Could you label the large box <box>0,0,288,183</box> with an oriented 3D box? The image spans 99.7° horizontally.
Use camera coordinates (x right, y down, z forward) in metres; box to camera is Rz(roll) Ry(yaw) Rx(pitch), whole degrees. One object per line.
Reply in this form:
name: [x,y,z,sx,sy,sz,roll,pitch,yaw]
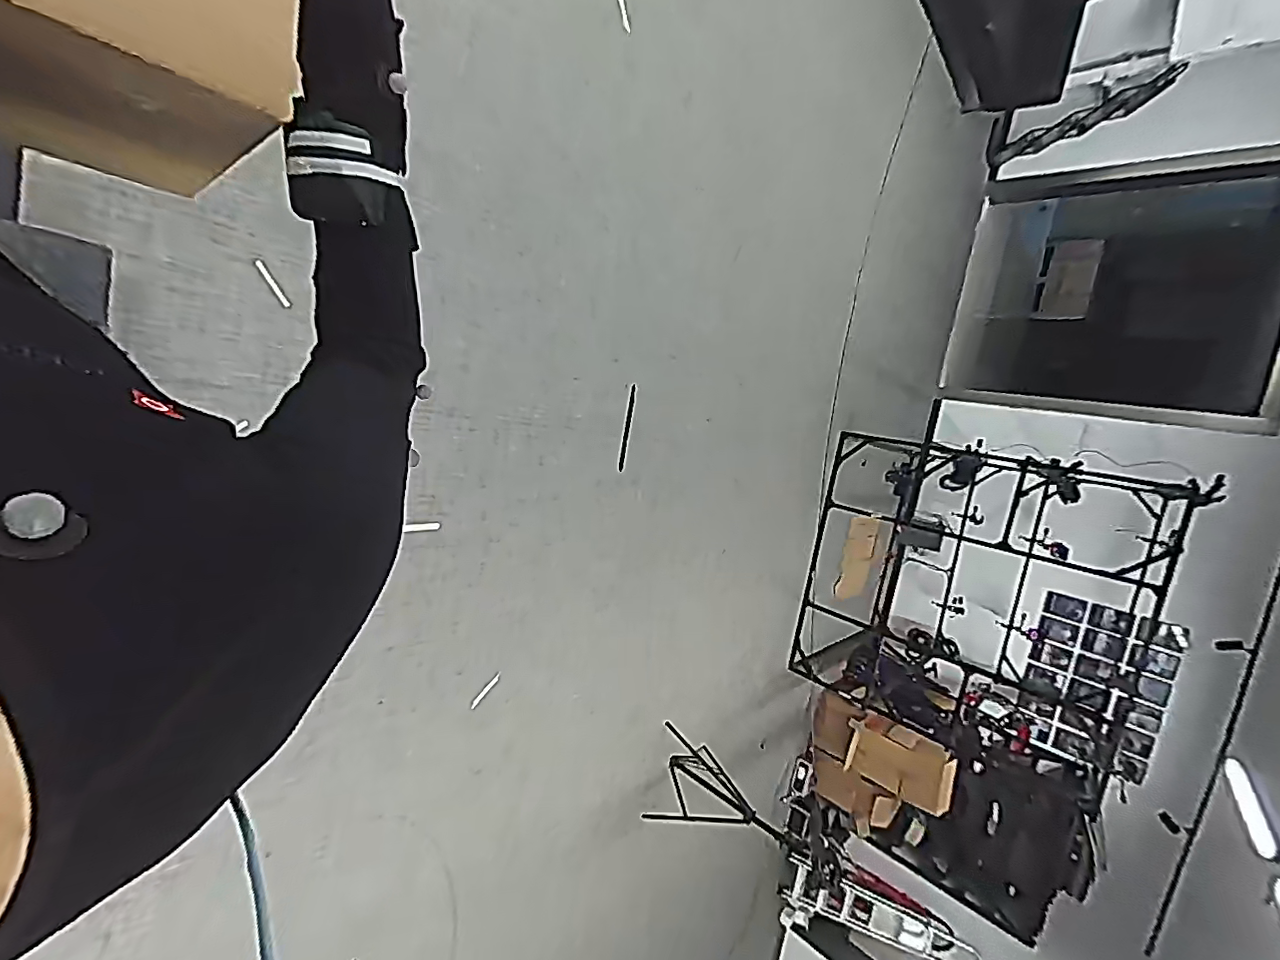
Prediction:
large box: [-0.467,-0.424,0.295,0.408,0.320,0.320,0,100,-50]
